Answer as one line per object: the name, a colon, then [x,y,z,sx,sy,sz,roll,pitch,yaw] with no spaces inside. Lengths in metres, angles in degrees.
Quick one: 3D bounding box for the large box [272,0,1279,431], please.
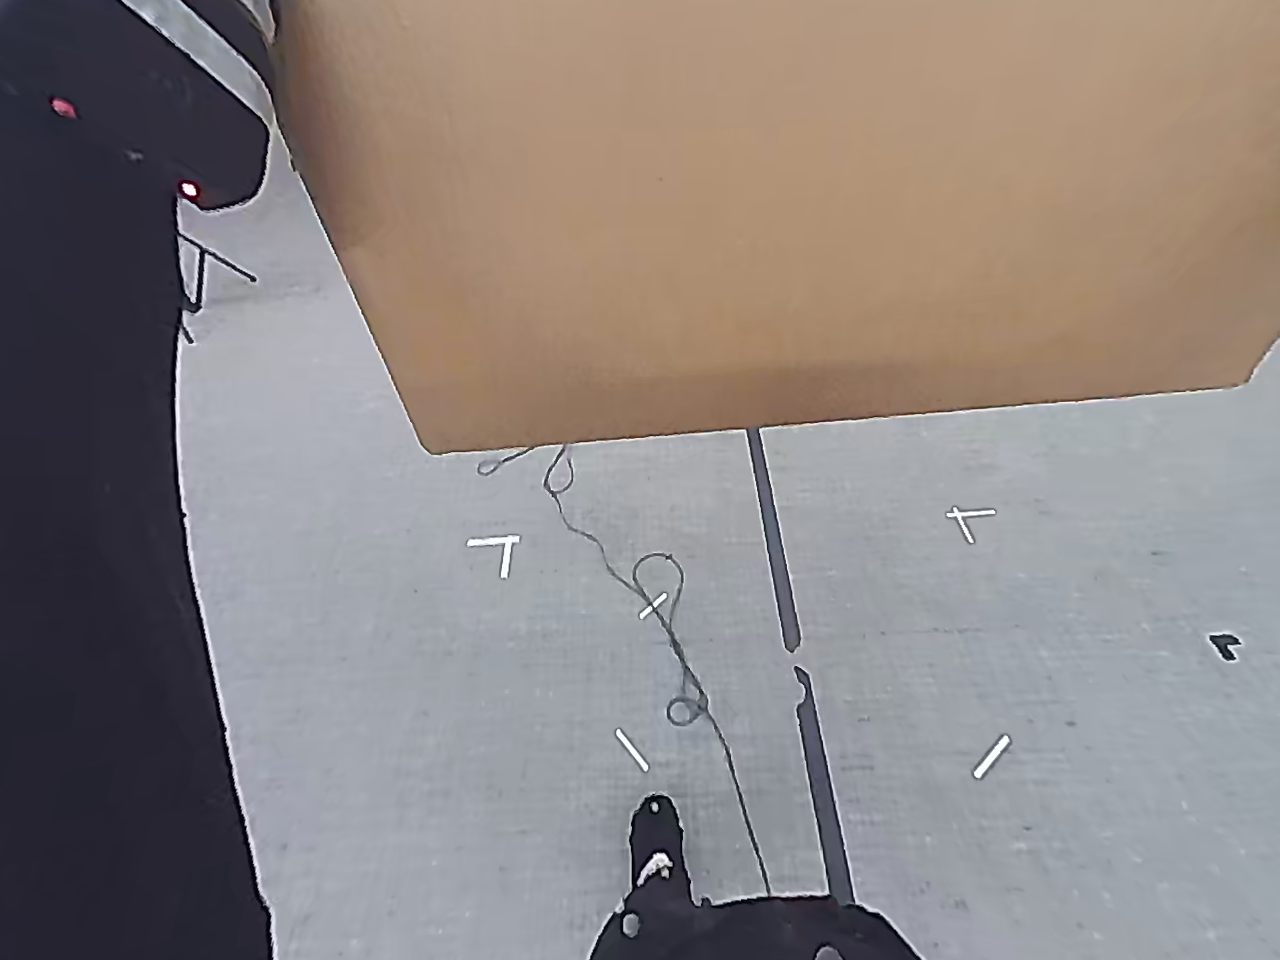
large box: [0.069,-0.250,0.298,0.408,0.320,0.320,-5,42,0]
